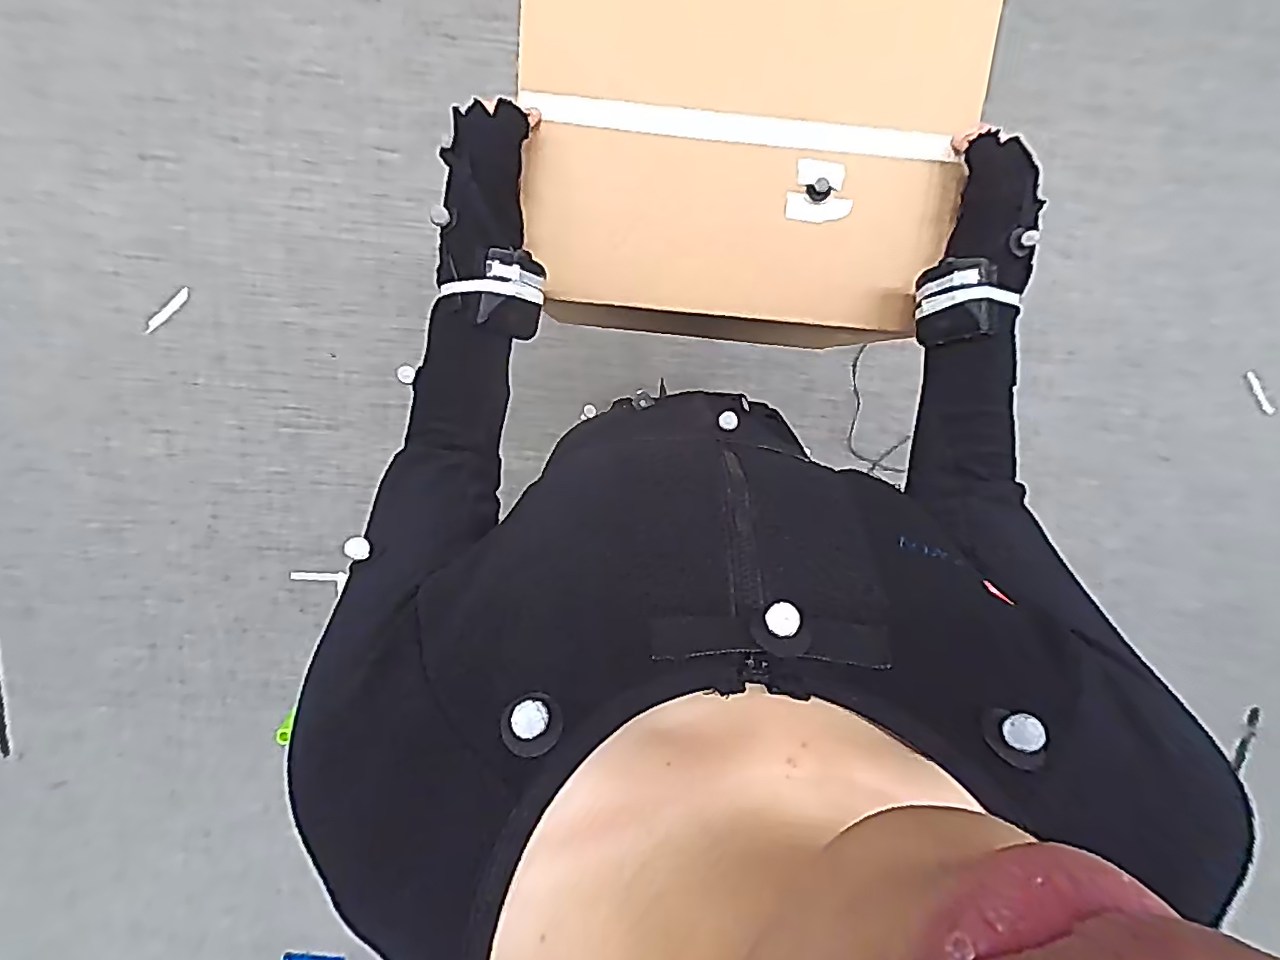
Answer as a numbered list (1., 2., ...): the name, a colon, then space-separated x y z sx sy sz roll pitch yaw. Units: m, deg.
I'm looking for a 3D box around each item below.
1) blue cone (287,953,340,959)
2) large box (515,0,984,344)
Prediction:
1. blue cone: -1.040 1.630 1.570 0.192 0.380 0.193 8 99 -1
2. large box: 0.085 -0.338 0.626 0.408 0.320 0.320 4 101 -3
